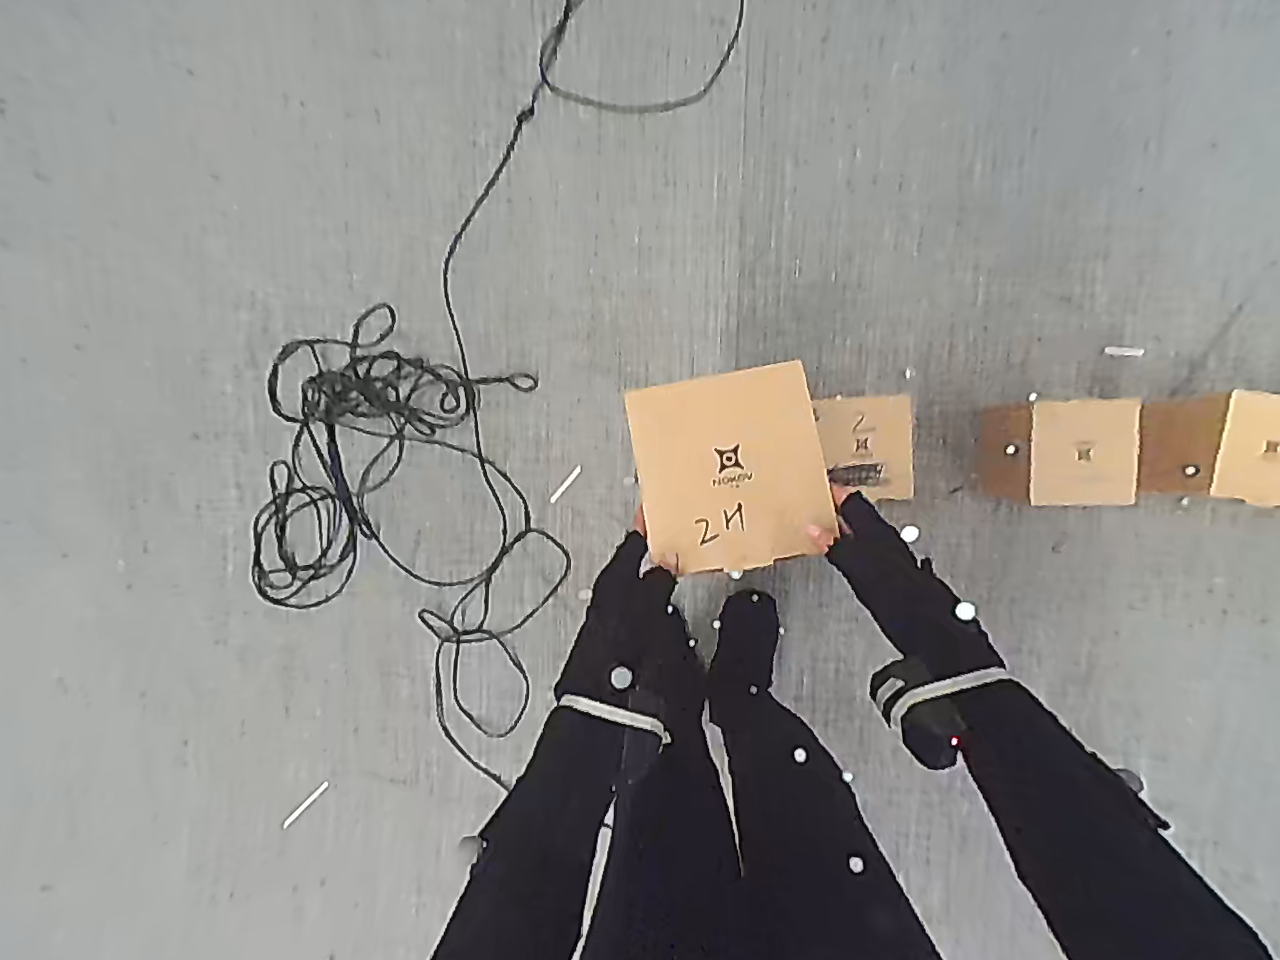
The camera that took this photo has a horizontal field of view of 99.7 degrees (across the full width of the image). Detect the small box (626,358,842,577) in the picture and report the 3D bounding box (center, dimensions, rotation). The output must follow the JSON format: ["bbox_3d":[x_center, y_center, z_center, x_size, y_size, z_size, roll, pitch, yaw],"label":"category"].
[{"bbox_3d":[0.084,-0.002,0.554,0.168,0.176,0.179,-11,82,3],"label":"small box"}]

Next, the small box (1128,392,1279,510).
[{"bbox_3d":[1.008,-0.050,0.953,0.168,0.176,0.179,8,94,2],"label":"small box"}]

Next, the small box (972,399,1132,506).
[{"bbox_3d":[0.723,-0.050,0.966,0.168,0.176,0.179,-1,94,4],"label":"small box"}]
